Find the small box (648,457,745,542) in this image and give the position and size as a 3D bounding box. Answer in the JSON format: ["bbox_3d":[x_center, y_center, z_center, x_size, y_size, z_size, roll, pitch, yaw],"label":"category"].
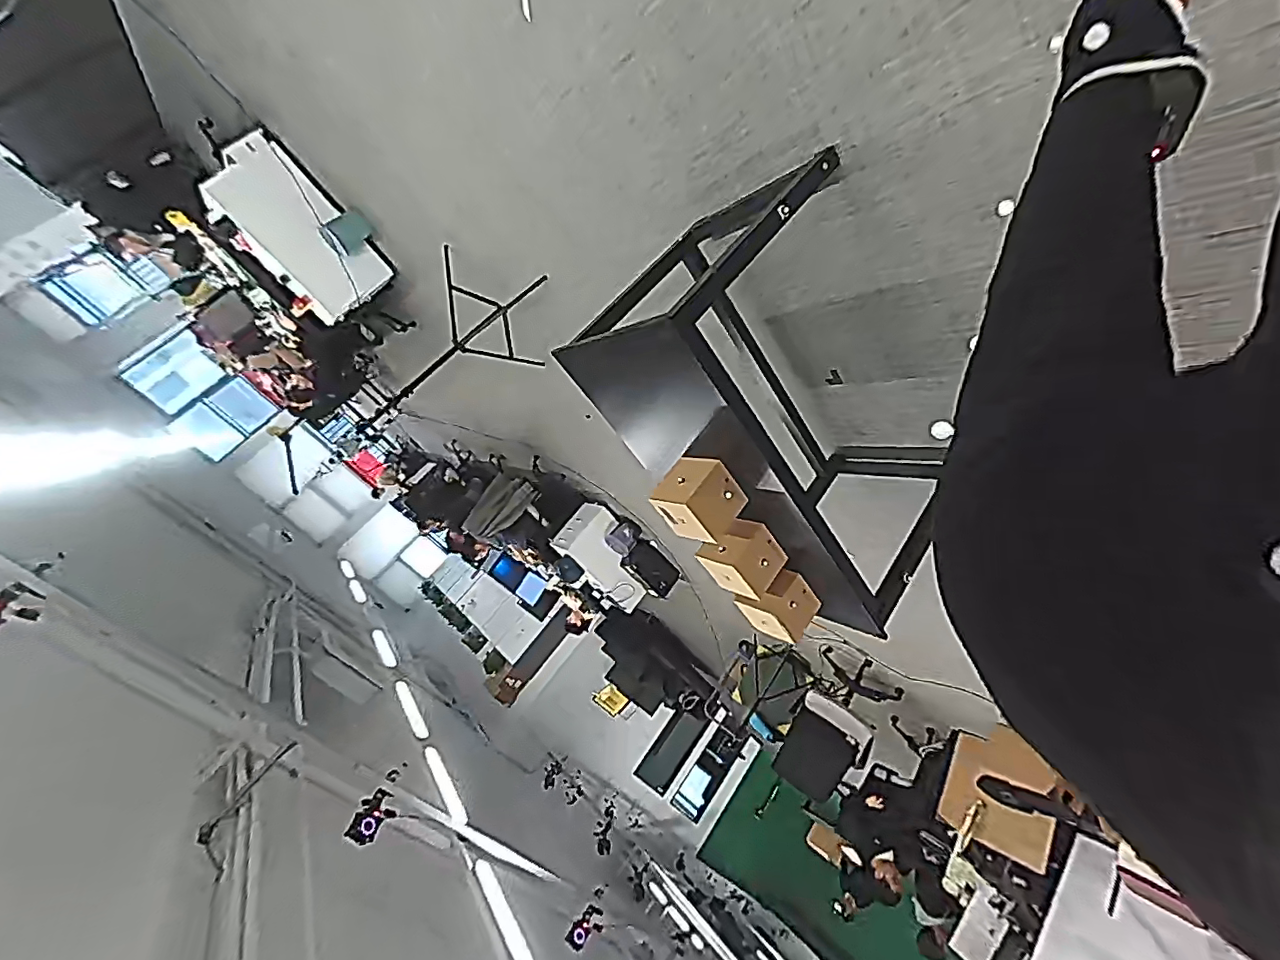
[{"bbox_3d":[0.164,0.048,1.532,0.168,0.176,0.179,50,158,-27],"label":"small box"}]

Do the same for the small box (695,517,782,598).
[{"bbox_3d":[0.310,0.230,1.657,0.168,0.176,0.179,51,158,-26],"label":"small box"}]

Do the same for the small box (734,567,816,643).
[{"bbox_3d":[0.449,0.393,1.765,0.168,0.176,0.179,51,159,-25],"label":"small box"}]
